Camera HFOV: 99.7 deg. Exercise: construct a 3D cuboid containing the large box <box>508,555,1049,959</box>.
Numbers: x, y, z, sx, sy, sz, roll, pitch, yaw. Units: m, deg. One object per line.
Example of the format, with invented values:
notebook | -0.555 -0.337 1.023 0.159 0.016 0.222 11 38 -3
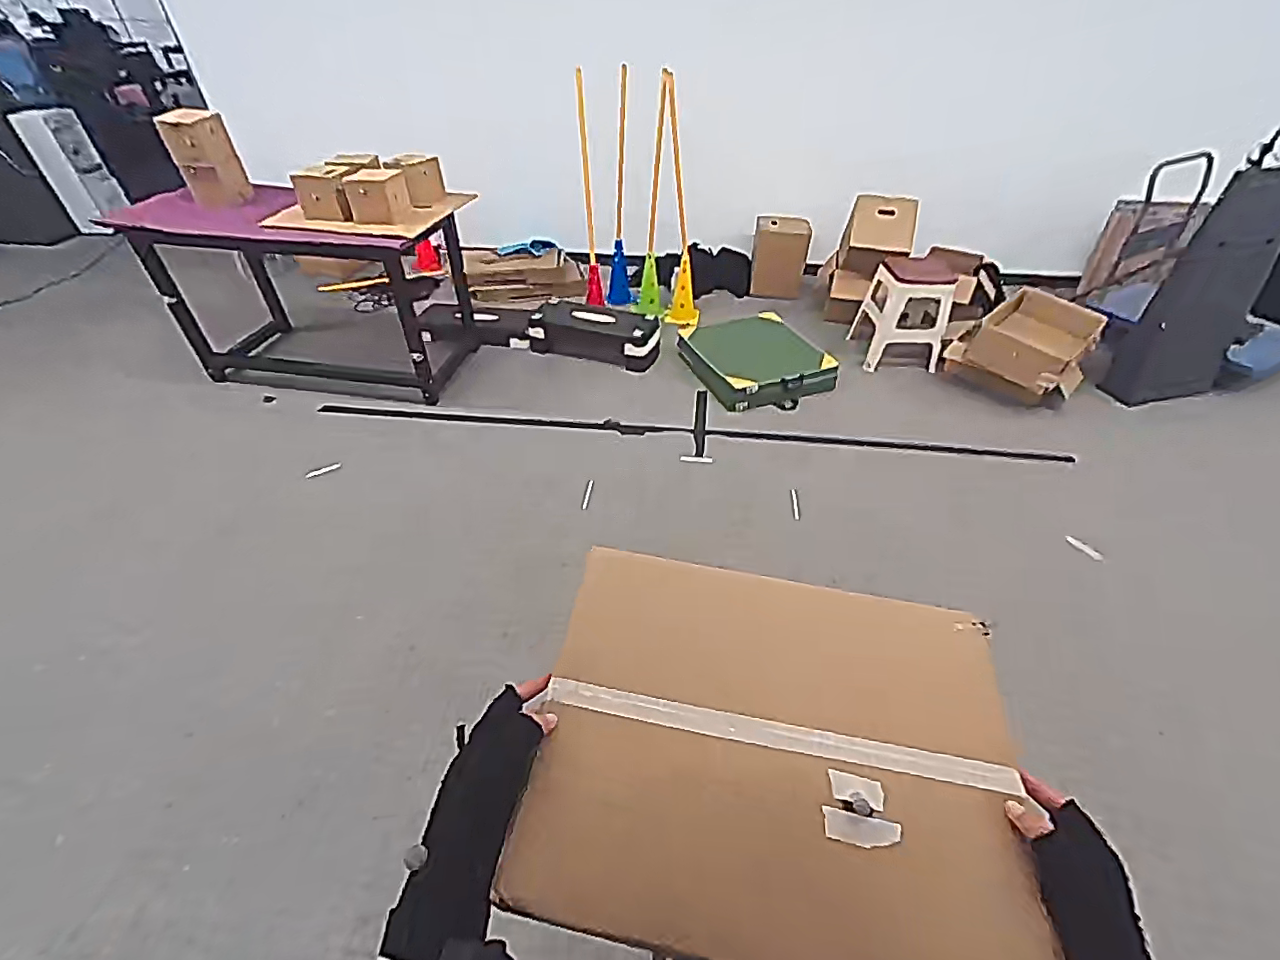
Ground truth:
large box | 0.111 0.320 0.594 0.408 0.320 0.320 9 51 5
